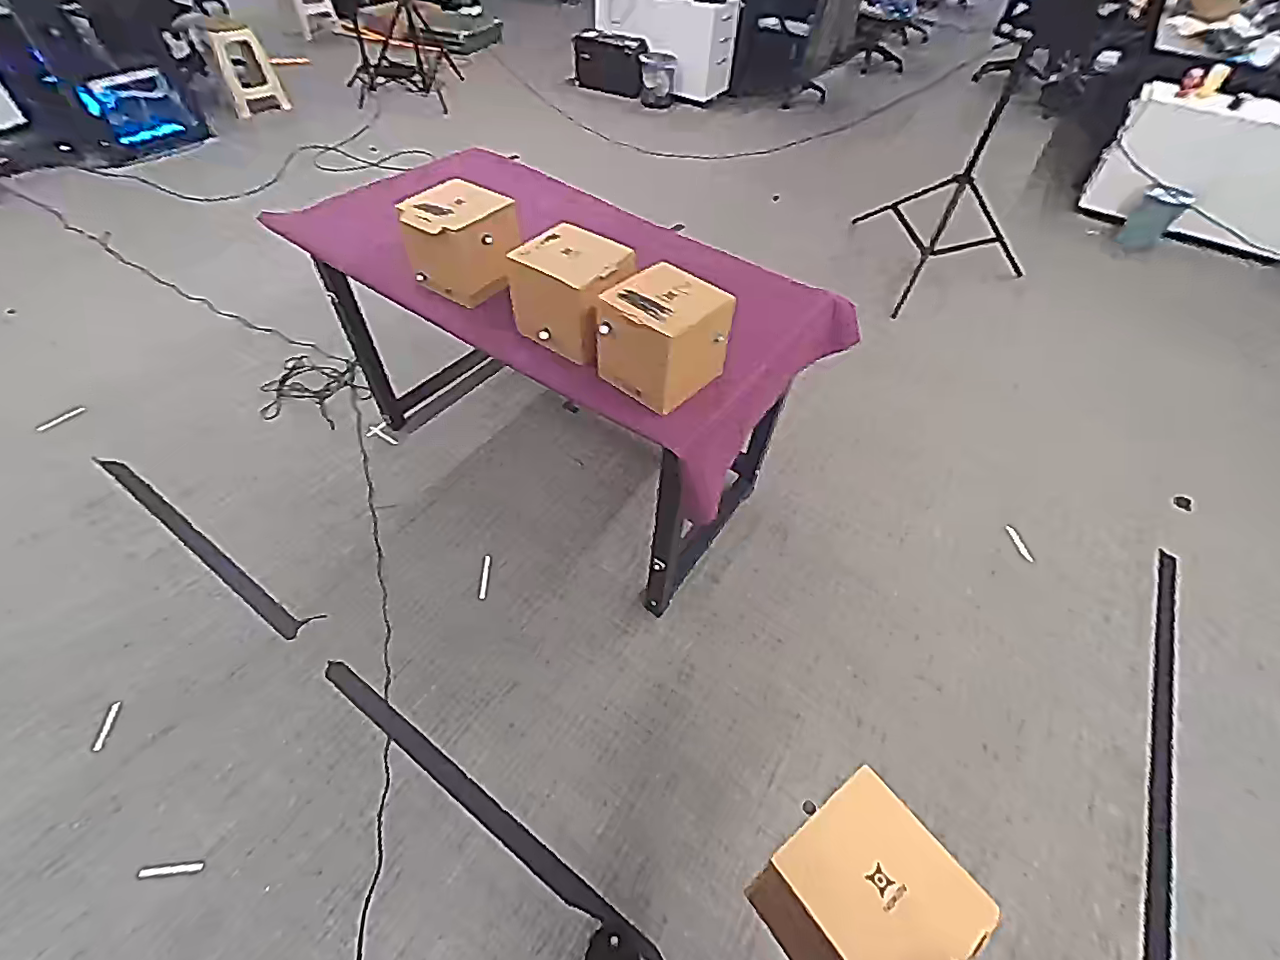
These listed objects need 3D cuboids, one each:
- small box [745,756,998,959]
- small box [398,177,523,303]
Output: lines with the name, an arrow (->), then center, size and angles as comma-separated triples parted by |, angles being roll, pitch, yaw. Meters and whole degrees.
small box -> 0.245, 0.465, 0.616 | 0.168, 0.176, 0.179 | -26, 53, -27
small box -> -0.365, -0.502, 1.140 | 0.168, 0.176, 0.179 | 28, 55, 18
